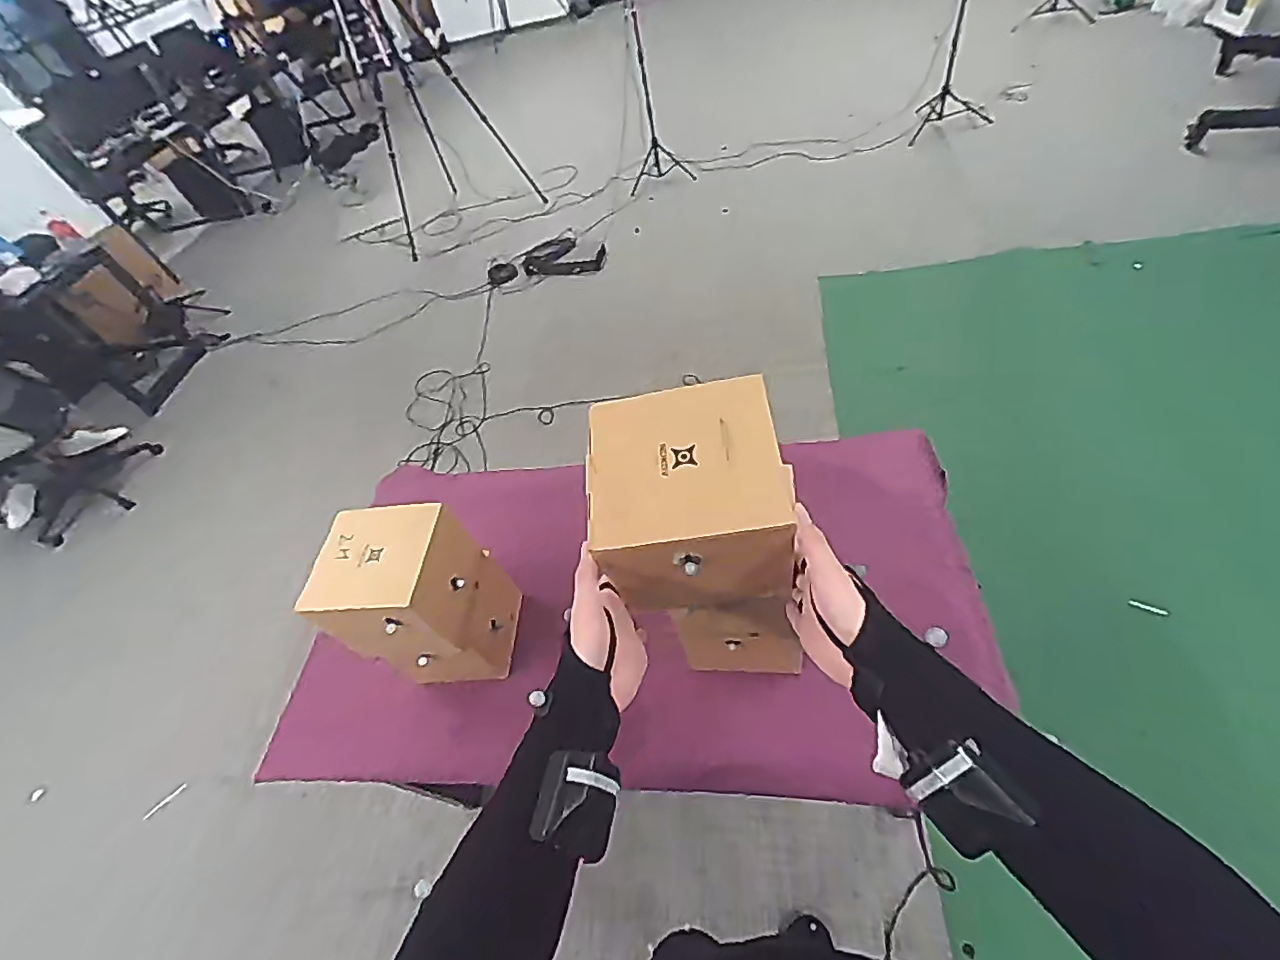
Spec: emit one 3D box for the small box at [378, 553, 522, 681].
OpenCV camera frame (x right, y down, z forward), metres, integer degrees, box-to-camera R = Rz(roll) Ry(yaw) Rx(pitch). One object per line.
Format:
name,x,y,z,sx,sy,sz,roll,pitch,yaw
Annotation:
small box,-0.325,0.244,0.950,0.179,0.176,0.168,-6,51,10

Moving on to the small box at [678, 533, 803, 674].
small box,0.163,0.199,0.861,0.179,0.176,0.168,-2,52,12

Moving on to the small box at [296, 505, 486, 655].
small box,-0.355,0.154,0.814,0.179,0.176,0.168,-5,51,11

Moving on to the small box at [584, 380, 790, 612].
small box,0.053,0.027,0.553,0.179,0.176,0.168,-8,57,10
